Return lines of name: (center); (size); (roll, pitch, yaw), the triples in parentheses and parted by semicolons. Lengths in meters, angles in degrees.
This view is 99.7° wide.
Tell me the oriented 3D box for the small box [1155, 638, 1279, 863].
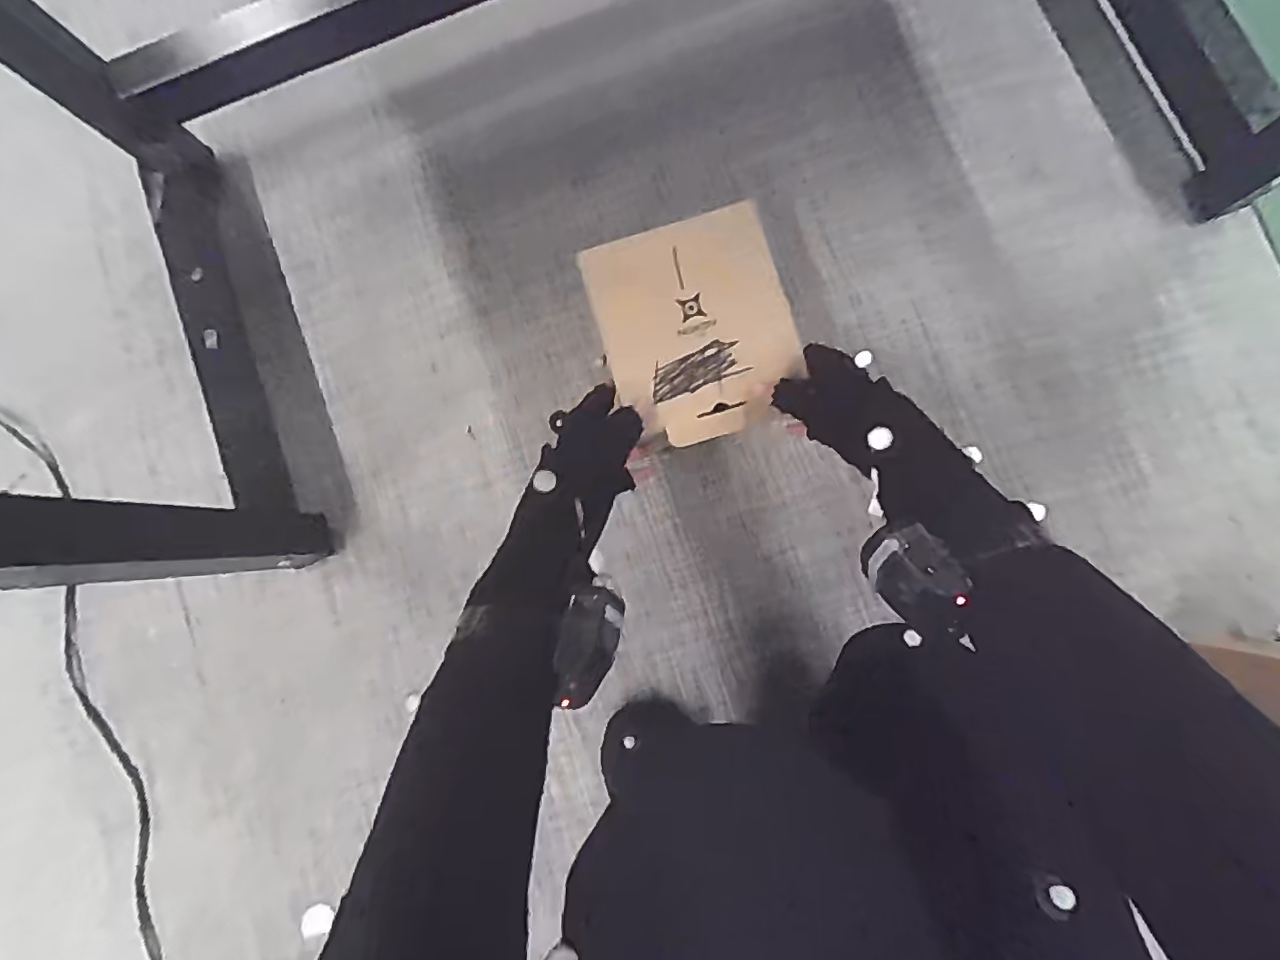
small box: (0.622, 0.245, 0.481); (0.168, 0.176, 0.179); (-1, 82, 3)
